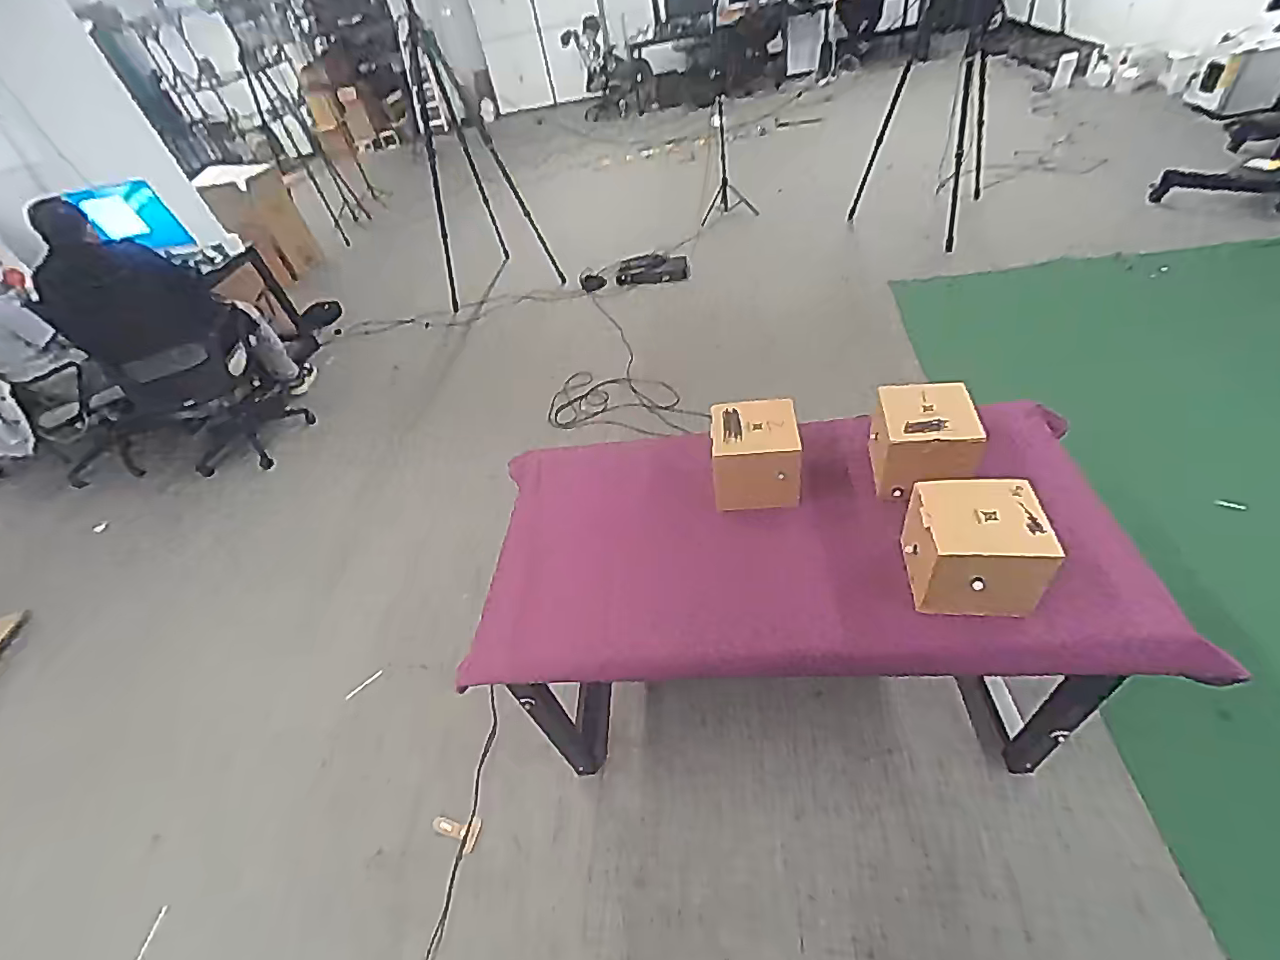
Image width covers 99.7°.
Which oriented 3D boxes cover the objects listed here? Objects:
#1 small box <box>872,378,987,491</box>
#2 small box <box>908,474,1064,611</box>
[{"bbox_3d":[0.579,-0.087,1.105,0.168,0.176,0.179,0,46,14],"label":"small box"},{"bbox_3d":[0.565,0.108,0.916,0.179,0.176,0.168,-1,45,14],"label":"small box"}]
